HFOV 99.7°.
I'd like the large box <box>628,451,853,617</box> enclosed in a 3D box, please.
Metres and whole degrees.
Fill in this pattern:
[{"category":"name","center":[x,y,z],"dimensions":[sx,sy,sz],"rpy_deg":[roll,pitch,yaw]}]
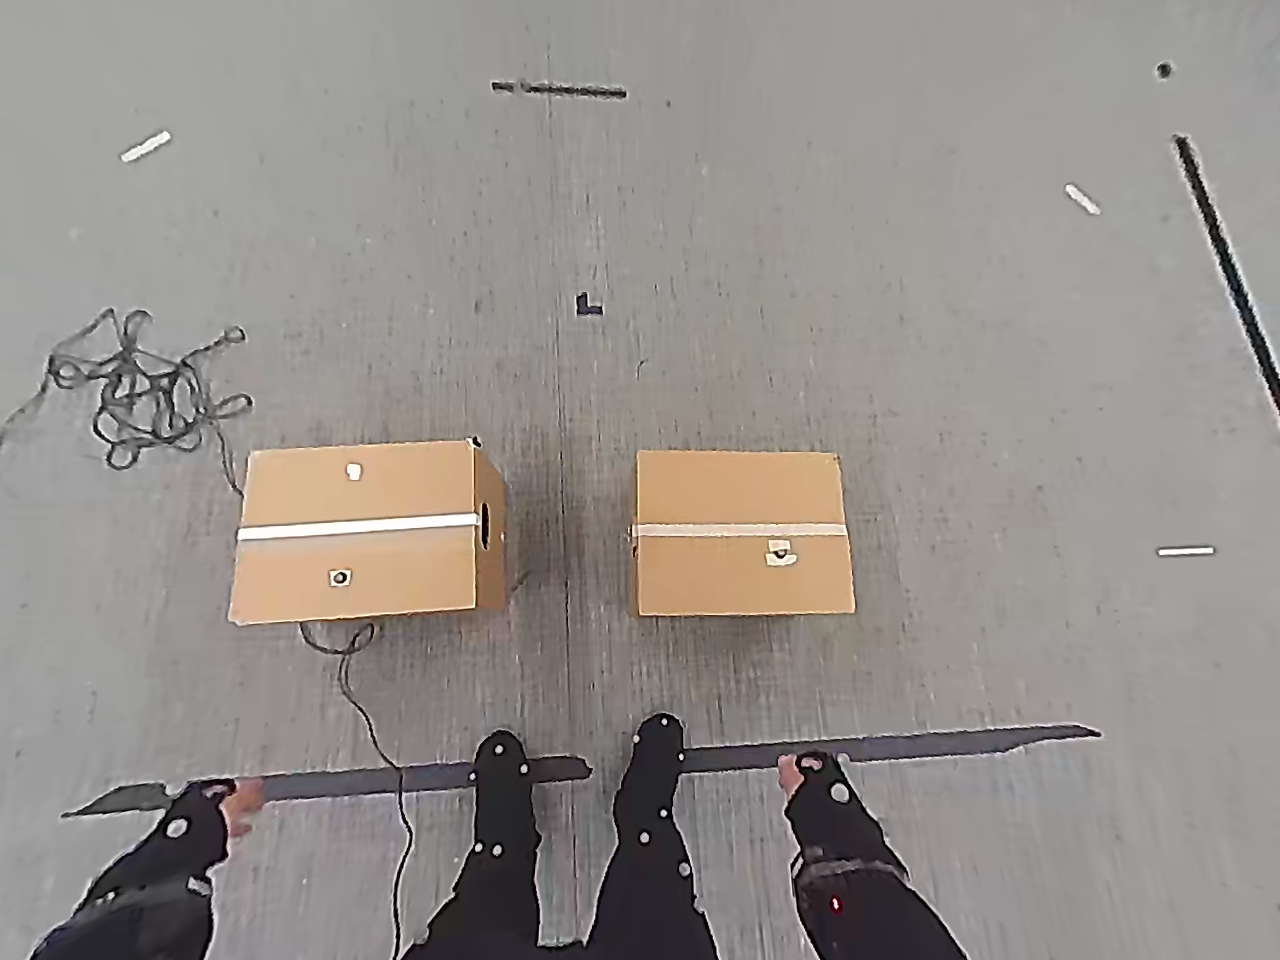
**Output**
[{"category":"large box","center":[0.186,0.131,1.175],"dimensions":[0.408,0.320,0.320],"rpy_deg":[1,76,-5]}]
